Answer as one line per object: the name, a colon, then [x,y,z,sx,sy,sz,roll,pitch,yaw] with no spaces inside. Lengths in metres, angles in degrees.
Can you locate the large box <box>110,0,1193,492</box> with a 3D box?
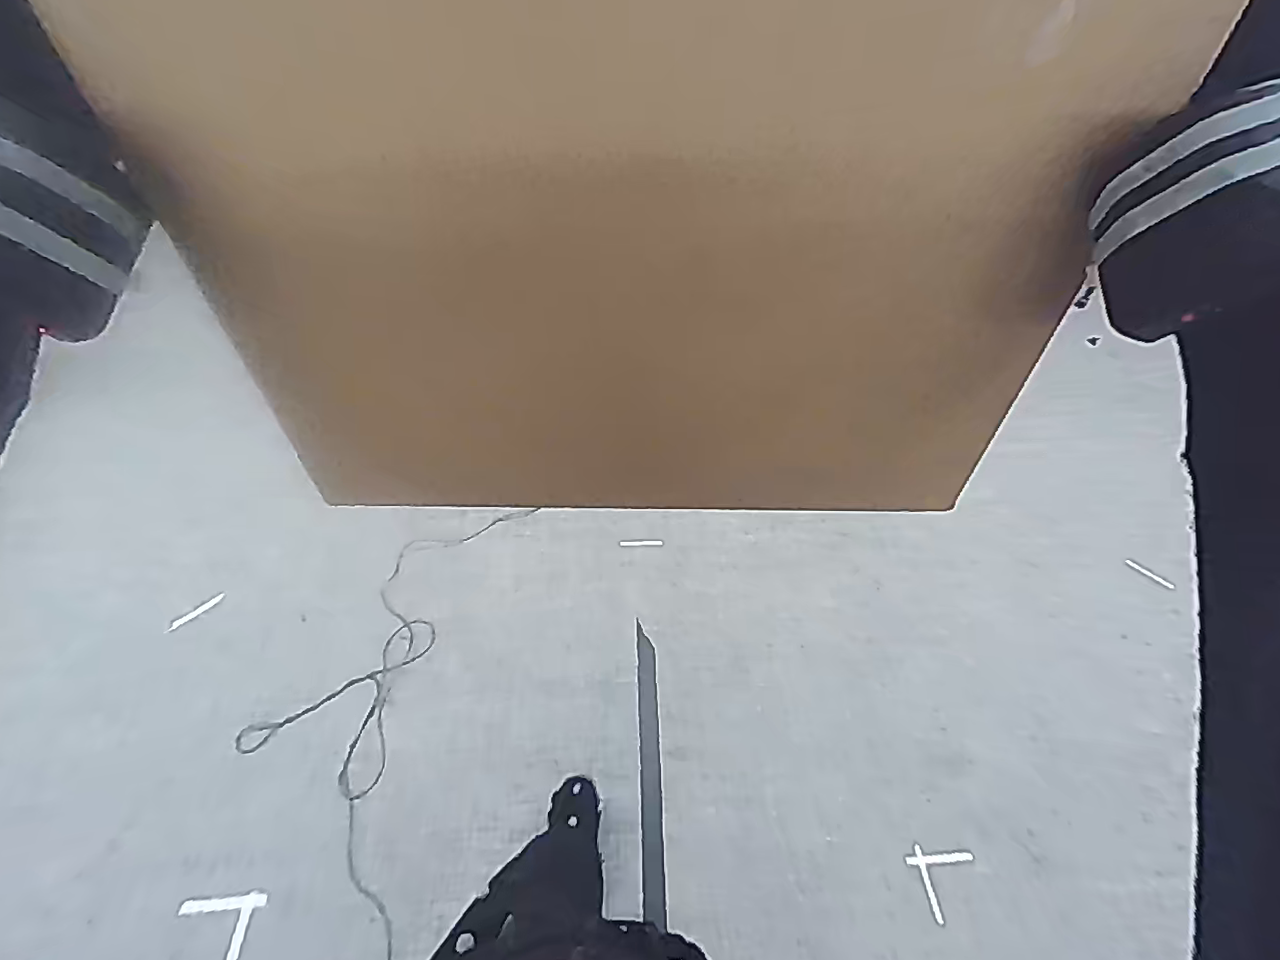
large box: [0.002,-0.202,0.368,0.408,0.320,0.320,1,44,-1]
